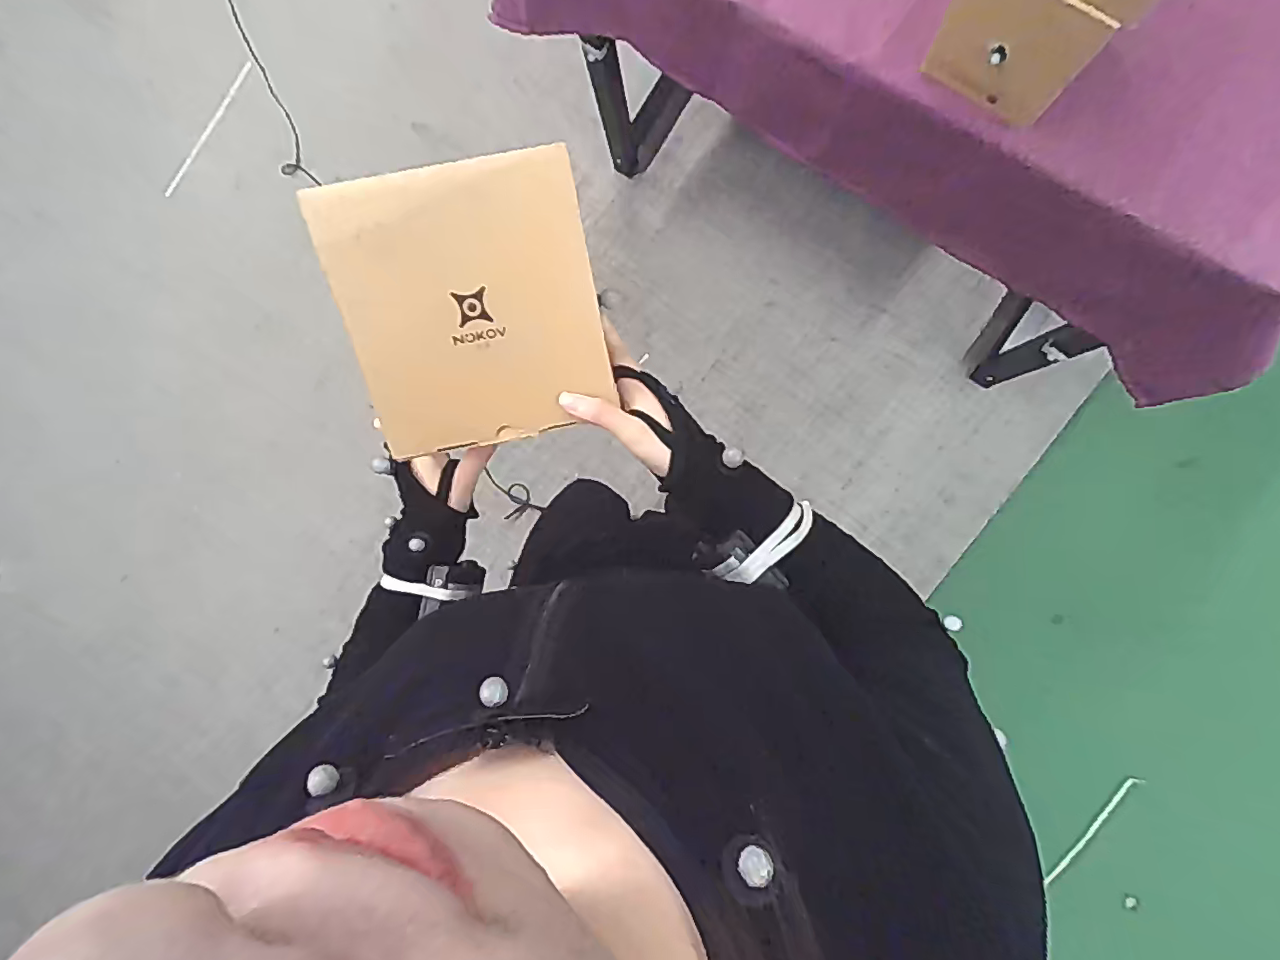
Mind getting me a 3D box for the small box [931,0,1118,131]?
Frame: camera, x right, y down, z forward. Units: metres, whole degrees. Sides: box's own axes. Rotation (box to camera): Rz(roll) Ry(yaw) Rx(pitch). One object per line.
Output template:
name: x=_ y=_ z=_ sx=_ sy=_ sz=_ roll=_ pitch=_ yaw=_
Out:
small box: x=0.490 y=-0.579 z=0.654 sx=0.168 sy=0.176 sz=0.179 roll=37 pitch=92 yaw=4
